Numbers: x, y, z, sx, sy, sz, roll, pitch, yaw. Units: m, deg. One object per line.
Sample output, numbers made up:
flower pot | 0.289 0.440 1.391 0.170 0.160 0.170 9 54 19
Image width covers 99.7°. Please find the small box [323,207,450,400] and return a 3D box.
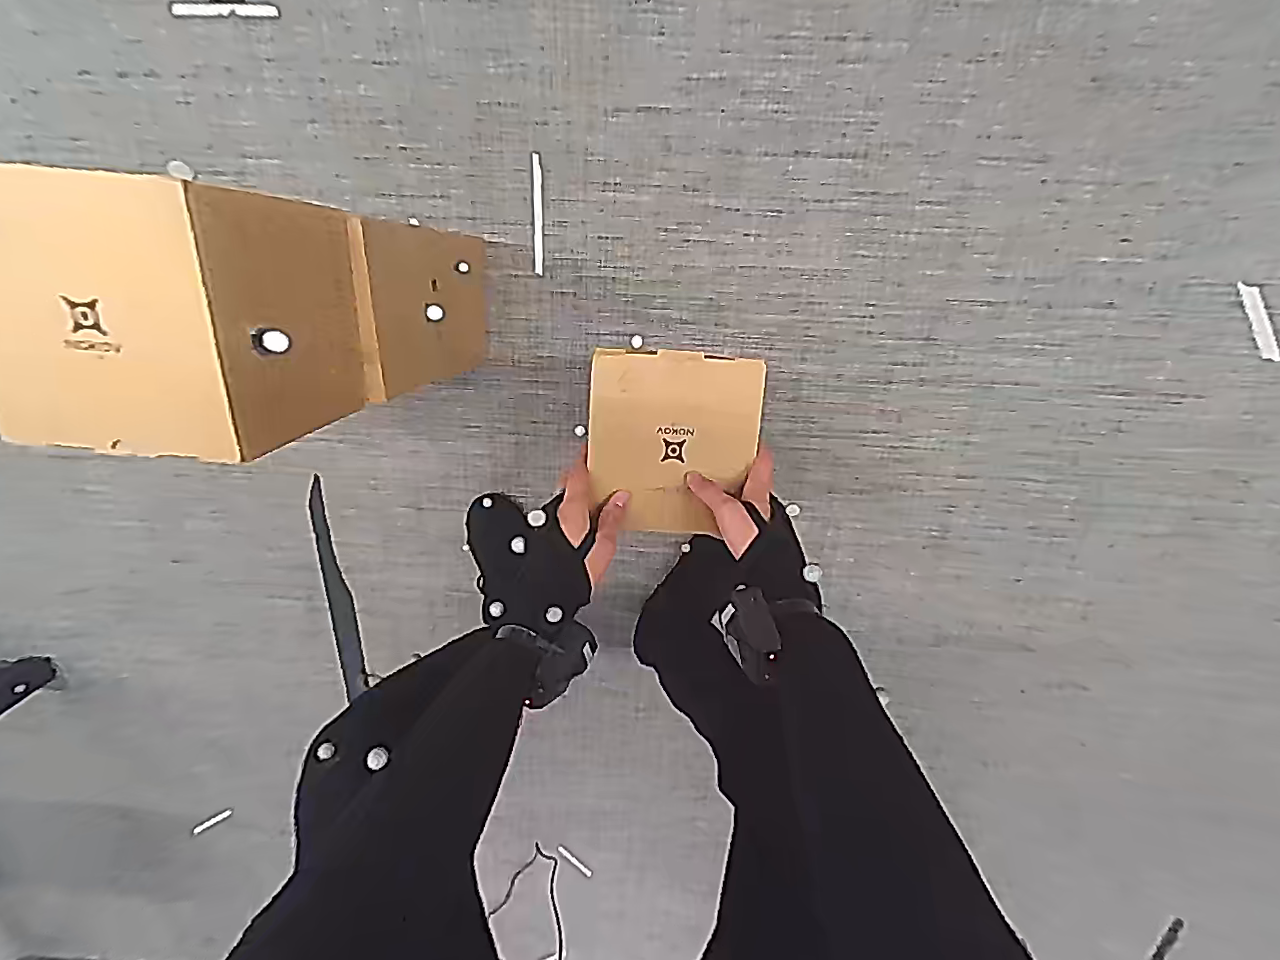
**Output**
small box | -0.317 -0.185 0.559 0.179 0.176 0.168 3 112 1

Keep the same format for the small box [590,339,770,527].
small box | 0.030 -0.058 0.592 0.168 0.176 0.179 2 104 -4

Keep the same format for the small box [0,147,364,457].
small box | -0.335 -0.132 0.406 0.168 0.176 0.179 5 113 1
